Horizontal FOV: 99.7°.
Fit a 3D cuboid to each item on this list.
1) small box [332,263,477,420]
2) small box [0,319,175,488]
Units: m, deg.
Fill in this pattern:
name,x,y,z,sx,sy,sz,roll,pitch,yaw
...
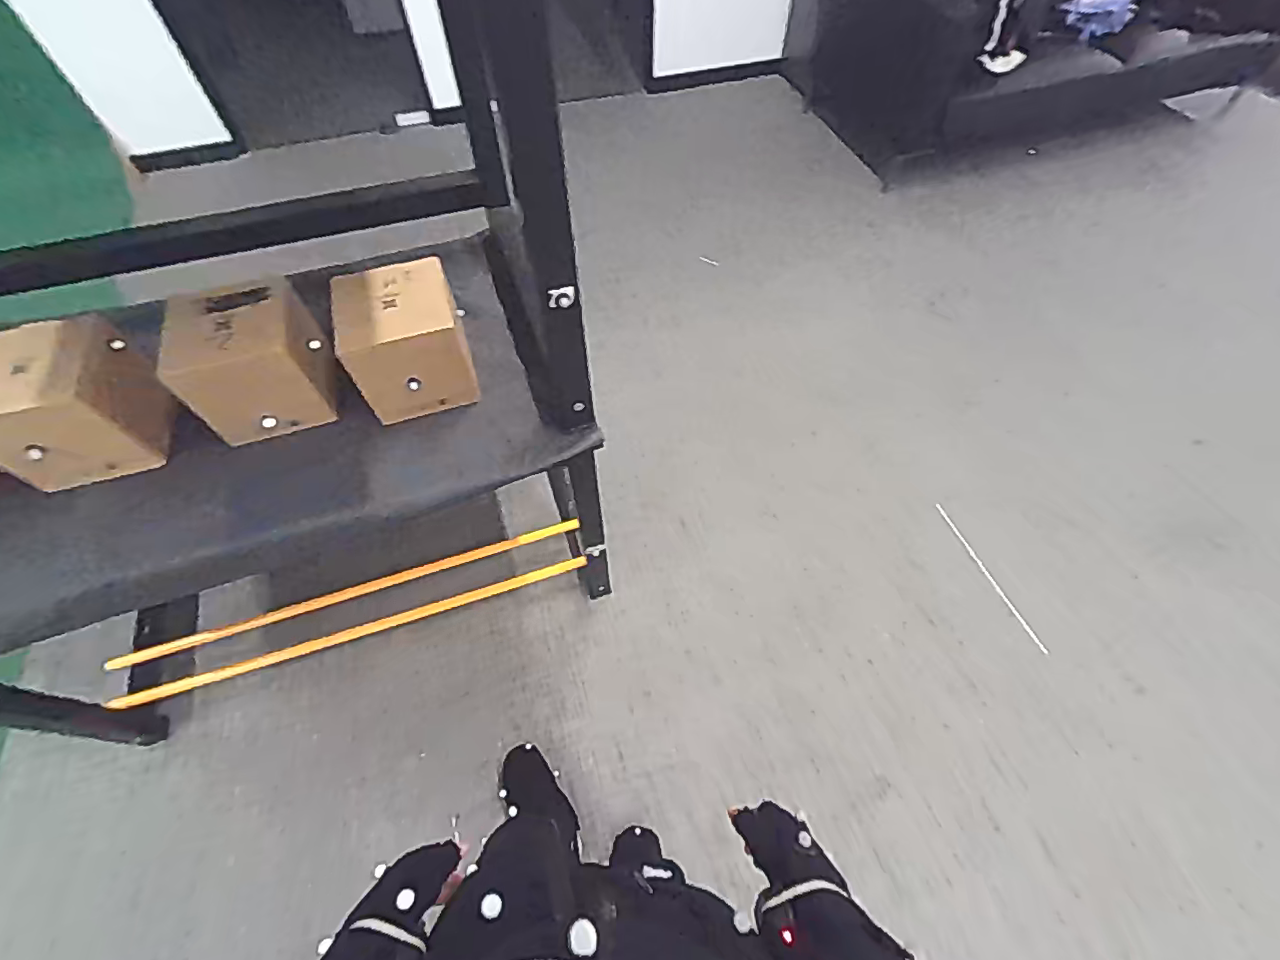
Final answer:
name,x,y,z,sx,sy,sz,roll,pitch,yaw
small box,-0.377,-0.216,0.883,0.168,0.176,0.179,-16,59,-10
small box,-0.849,-0.105,0.811,0.168,0.176,0.179,-15,59,-10
